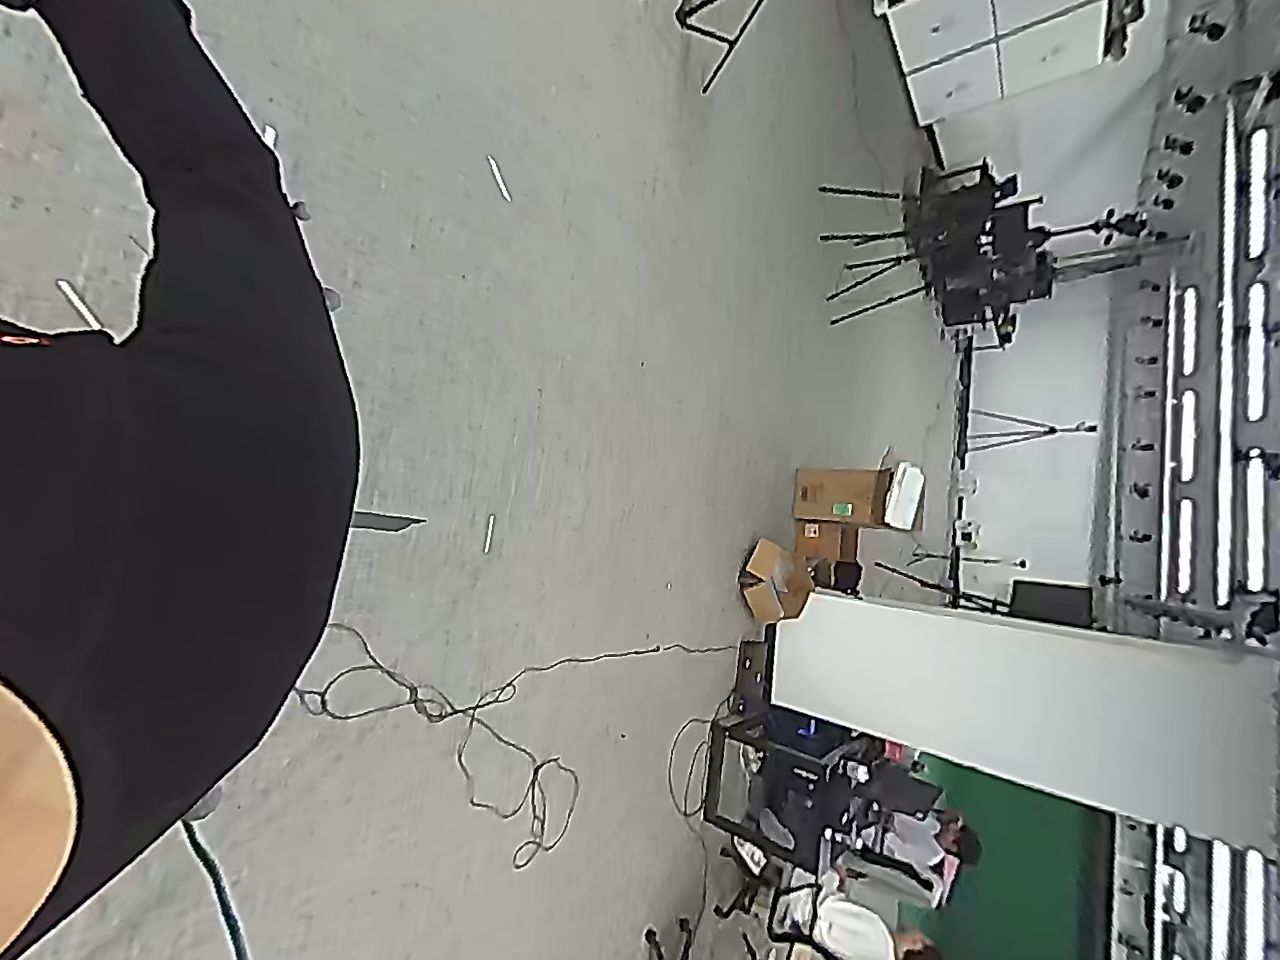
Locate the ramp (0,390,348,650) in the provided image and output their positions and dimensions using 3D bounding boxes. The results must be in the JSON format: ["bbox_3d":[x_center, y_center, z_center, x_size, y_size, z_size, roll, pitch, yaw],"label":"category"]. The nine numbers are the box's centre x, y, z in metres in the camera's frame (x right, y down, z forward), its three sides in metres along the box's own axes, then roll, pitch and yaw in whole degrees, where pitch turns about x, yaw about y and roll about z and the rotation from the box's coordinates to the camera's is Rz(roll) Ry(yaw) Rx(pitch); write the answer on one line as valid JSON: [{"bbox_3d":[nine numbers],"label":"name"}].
[{"bbox_3d":[-1.131,0.099,1.161,0.991,0.206,0.509,11,82,-51],"label":"ramp"}]
